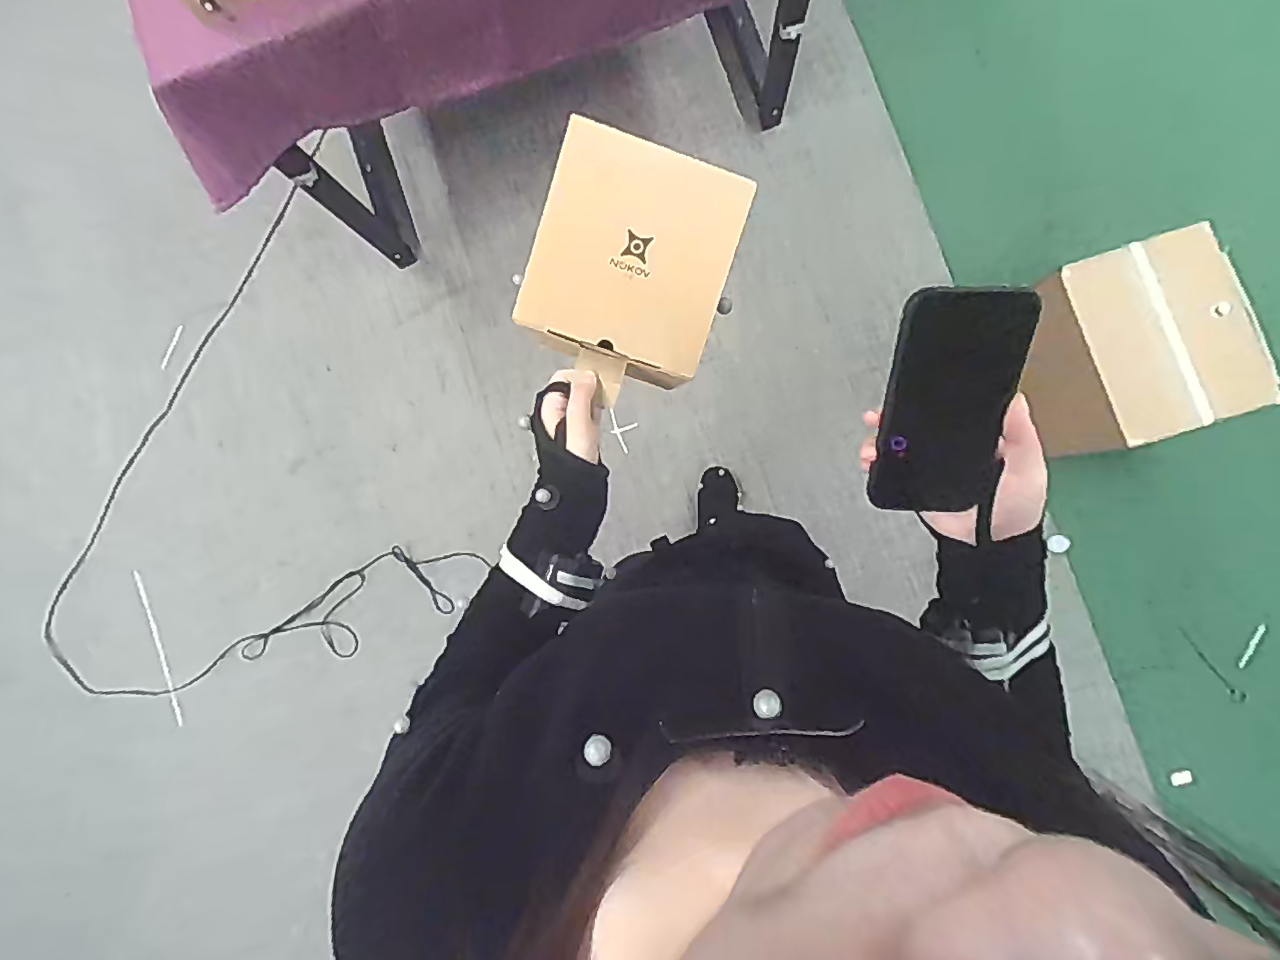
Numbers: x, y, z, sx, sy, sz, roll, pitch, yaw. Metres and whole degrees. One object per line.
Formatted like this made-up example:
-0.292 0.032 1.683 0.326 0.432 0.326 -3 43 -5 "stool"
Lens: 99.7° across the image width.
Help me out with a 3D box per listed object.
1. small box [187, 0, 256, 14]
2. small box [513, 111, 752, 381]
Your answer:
-0.657 -0.844 0.795 0.168 0.176 0.179 -20 85 3 "small box"
-0.012 -0.208 0.537 0.168 0.176 0.179 17 97 -5 "small box"
